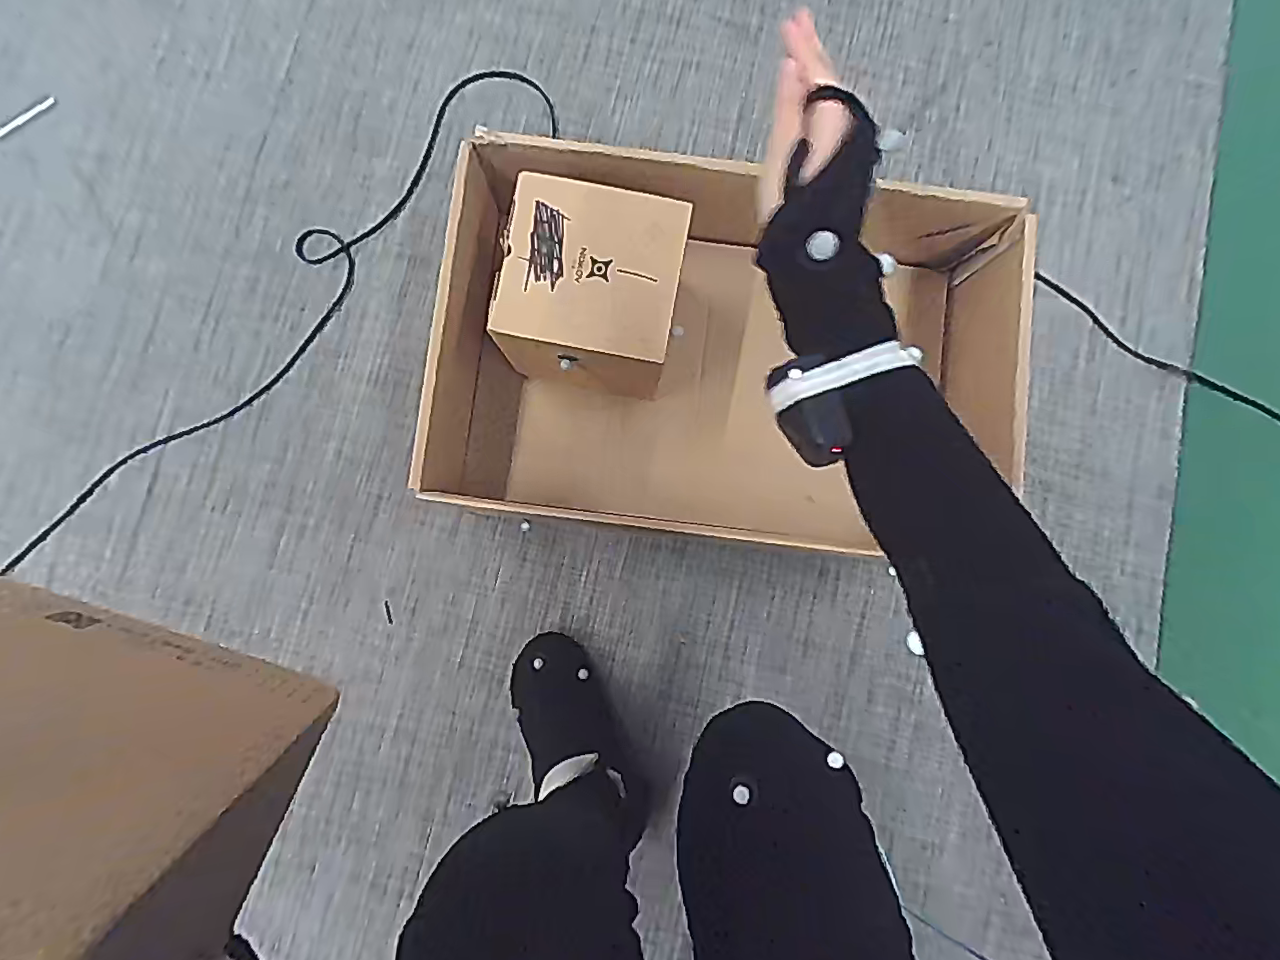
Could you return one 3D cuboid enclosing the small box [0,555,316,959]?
[{"bbox_3d":[-0.225,0.132,0.144,0.168,0.176,0.179,25,81,-11],"label":"small box"}]
